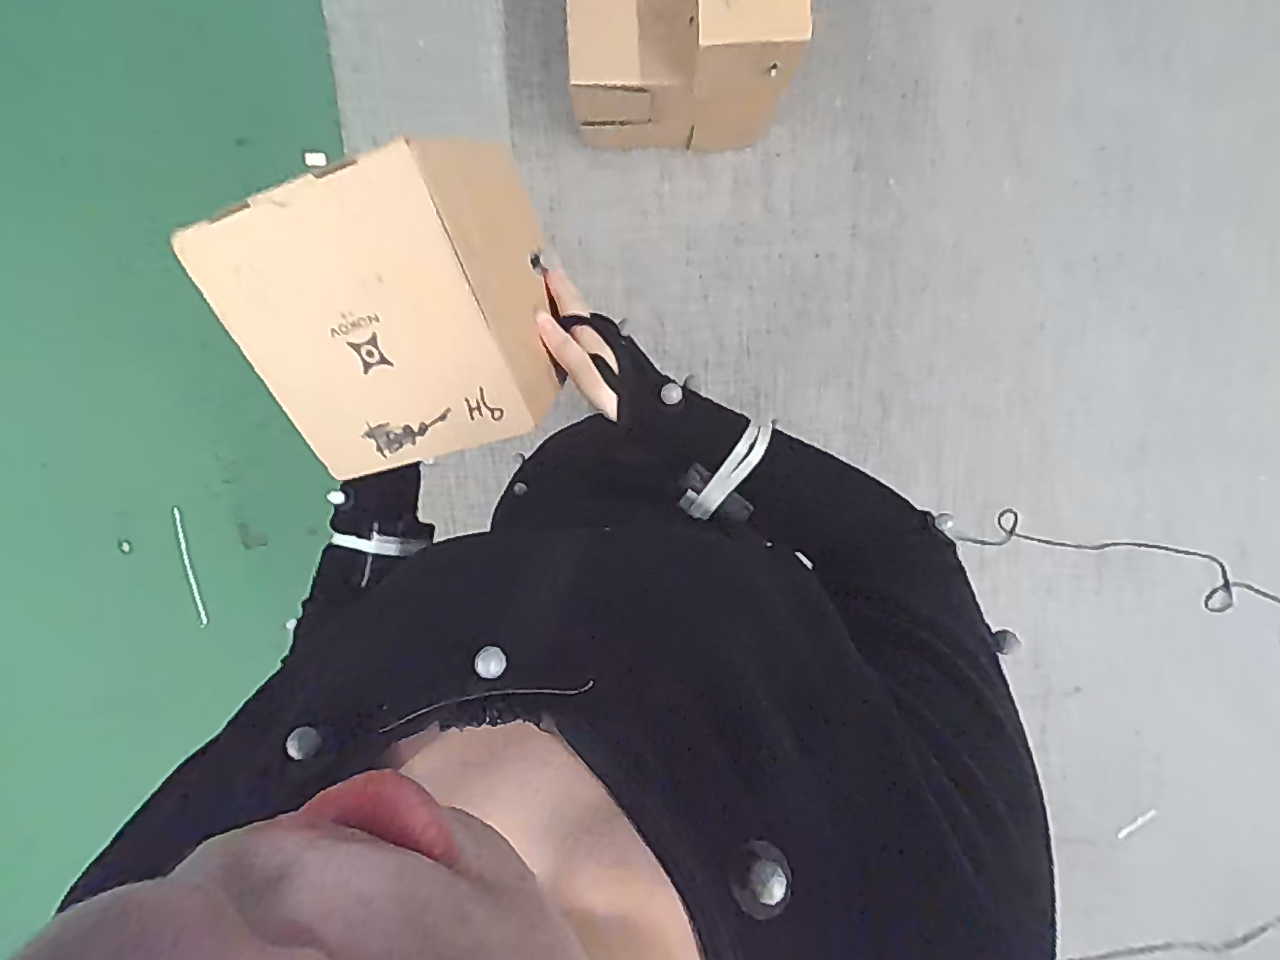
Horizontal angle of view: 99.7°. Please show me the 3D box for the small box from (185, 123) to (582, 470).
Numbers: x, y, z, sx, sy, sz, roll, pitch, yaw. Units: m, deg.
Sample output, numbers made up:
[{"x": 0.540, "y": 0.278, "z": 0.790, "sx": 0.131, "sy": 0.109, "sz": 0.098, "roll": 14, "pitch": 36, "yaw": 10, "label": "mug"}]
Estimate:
[{"x": -0.157, "y": -0.135, "z": 0.403, "sx": 0.168, "sy": 0.176, "sz": 0.179, "roll": -12, "pitch": 119, "yaw": 13, "label": "small box"}]

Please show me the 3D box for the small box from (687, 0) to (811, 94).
[{"x": 0.173, "y": -0.769, "z": 0.893, "sx": 0.179, "sy": 0.176, "sz": 0.168, "roll": -2, "pitch": 102, "yaw": 1, "label": "small box"}]
